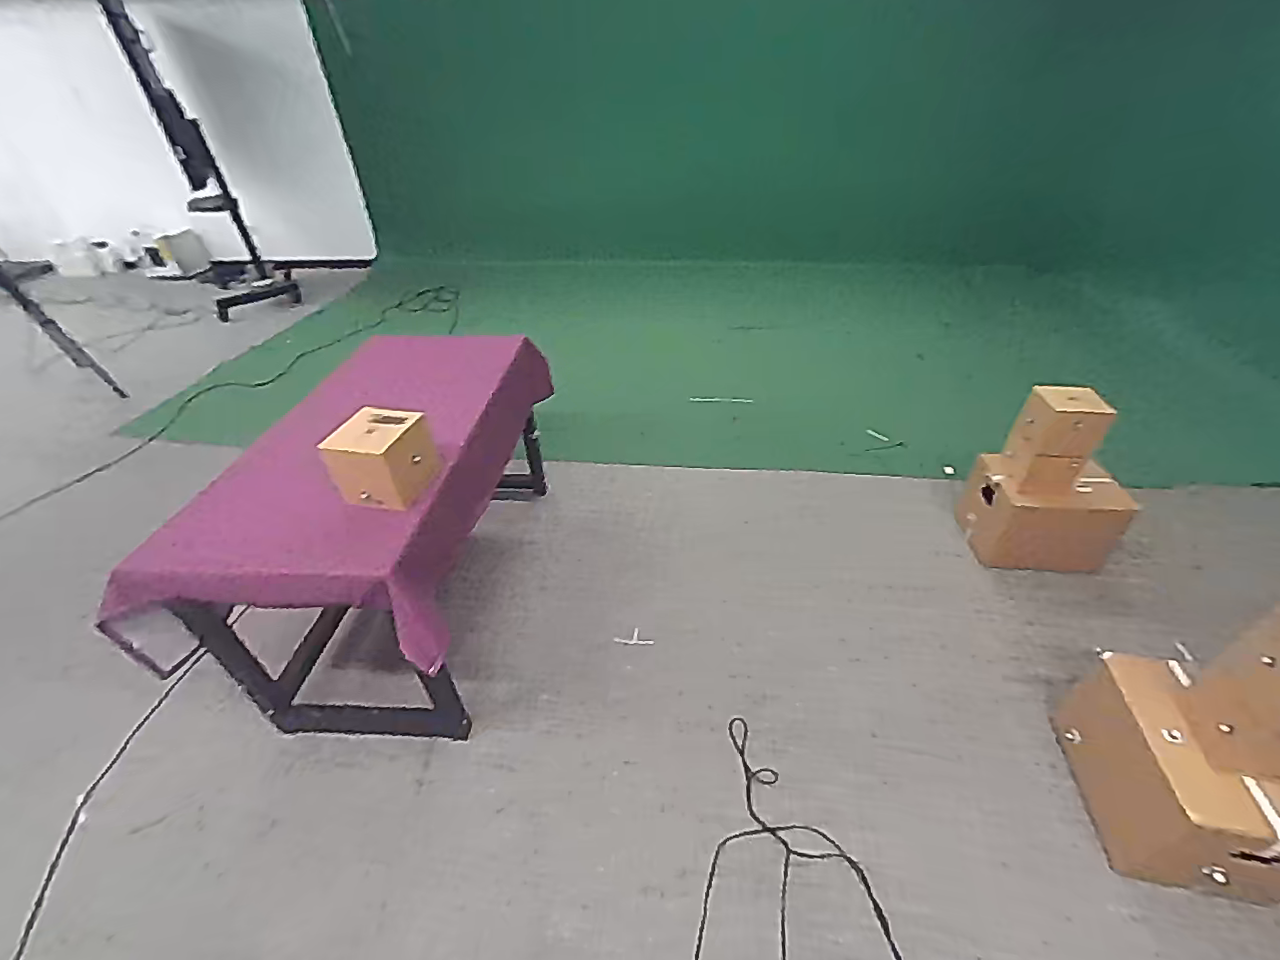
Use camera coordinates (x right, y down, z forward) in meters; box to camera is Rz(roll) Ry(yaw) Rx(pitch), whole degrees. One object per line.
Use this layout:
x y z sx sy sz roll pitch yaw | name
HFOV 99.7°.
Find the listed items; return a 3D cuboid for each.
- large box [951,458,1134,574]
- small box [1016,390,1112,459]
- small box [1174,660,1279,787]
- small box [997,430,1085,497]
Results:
1.474 0.134 2.029 0.408 0.320 0.320 3 38 5 | large box
1.374 -0.182 1.773 0.179 0.176 0.168 4 38 6 | small box
1.304 0.518 1.140 0.168 0.176 0.179 10 39 12 | small box
1.381 -0.056 1.880 0.179 0.176 0.168 4 38 6 | small box
